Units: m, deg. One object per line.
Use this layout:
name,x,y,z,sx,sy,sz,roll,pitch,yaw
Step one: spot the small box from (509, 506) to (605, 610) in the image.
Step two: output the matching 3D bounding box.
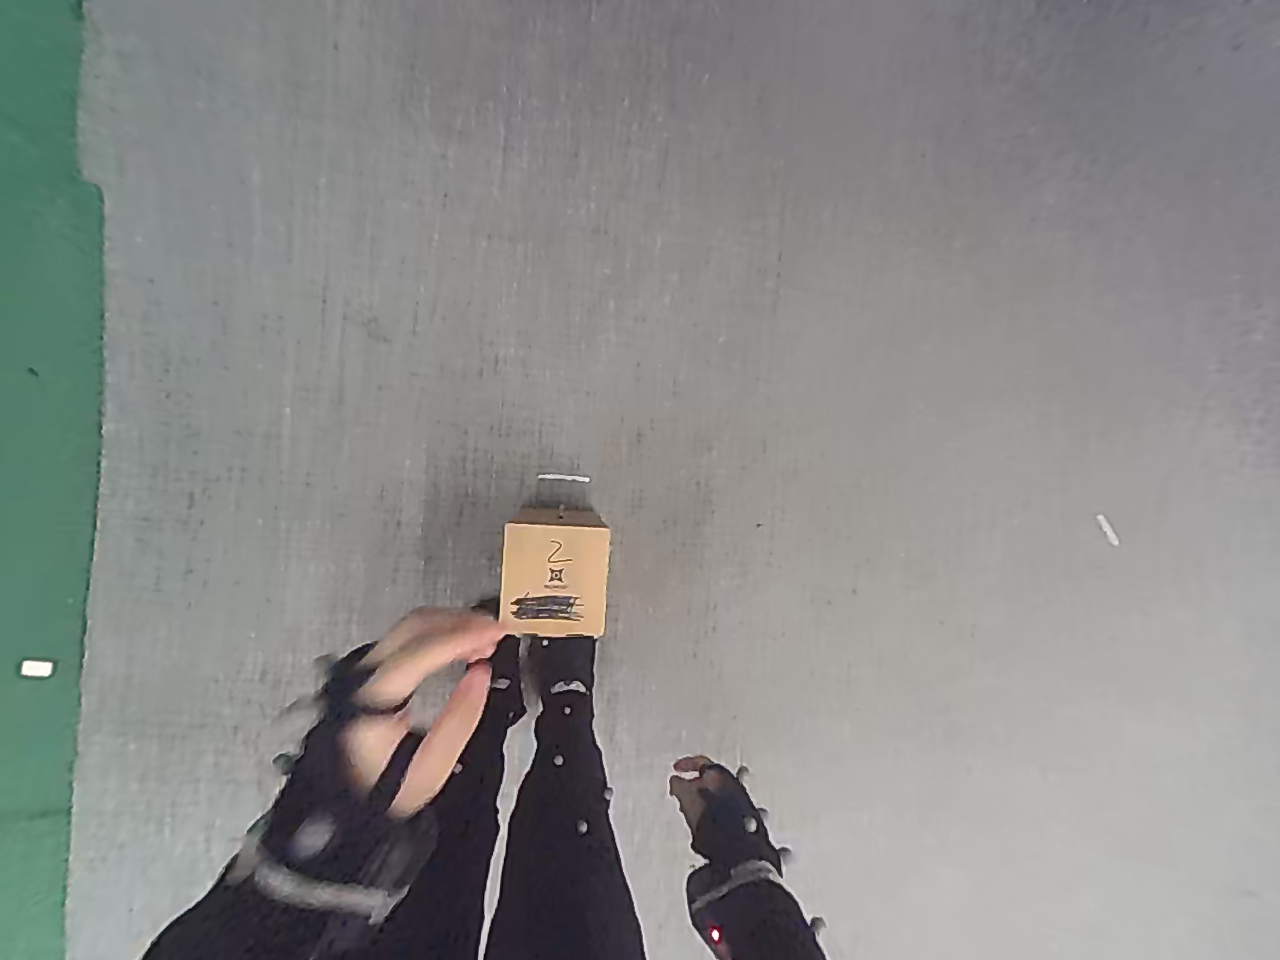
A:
small box,-0.166,0.147,1.079,0.168,0.176,0.179,5,92,-9
